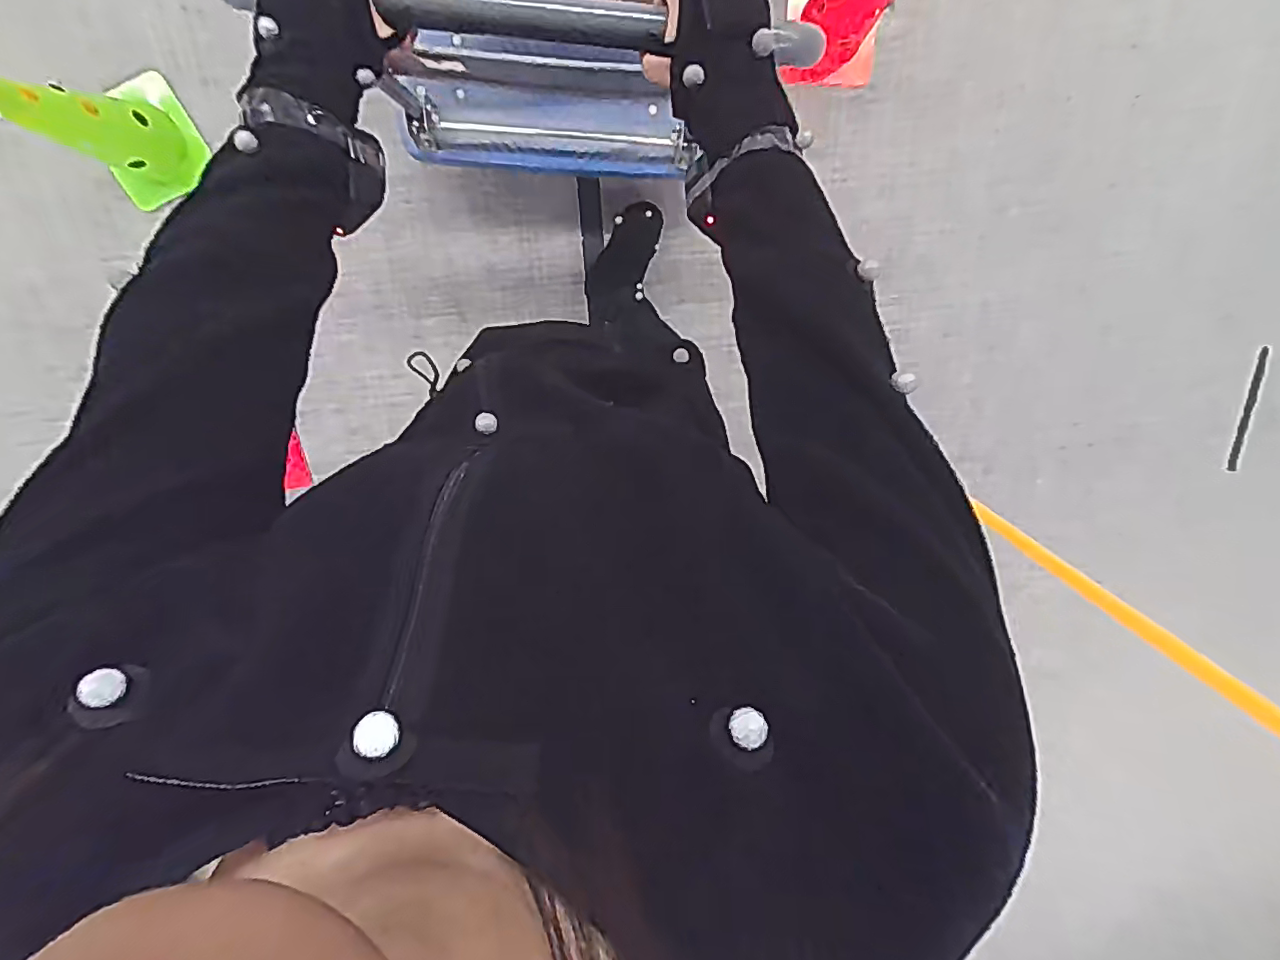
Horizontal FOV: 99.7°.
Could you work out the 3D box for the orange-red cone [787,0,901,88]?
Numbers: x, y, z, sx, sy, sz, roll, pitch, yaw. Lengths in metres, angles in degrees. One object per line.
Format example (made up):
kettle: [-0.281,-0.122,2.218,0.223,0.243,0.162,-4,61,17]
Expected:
orange-red cone: [0.433,-0.890,0.980,0.199,0.360,0.198,0,111,-7]
